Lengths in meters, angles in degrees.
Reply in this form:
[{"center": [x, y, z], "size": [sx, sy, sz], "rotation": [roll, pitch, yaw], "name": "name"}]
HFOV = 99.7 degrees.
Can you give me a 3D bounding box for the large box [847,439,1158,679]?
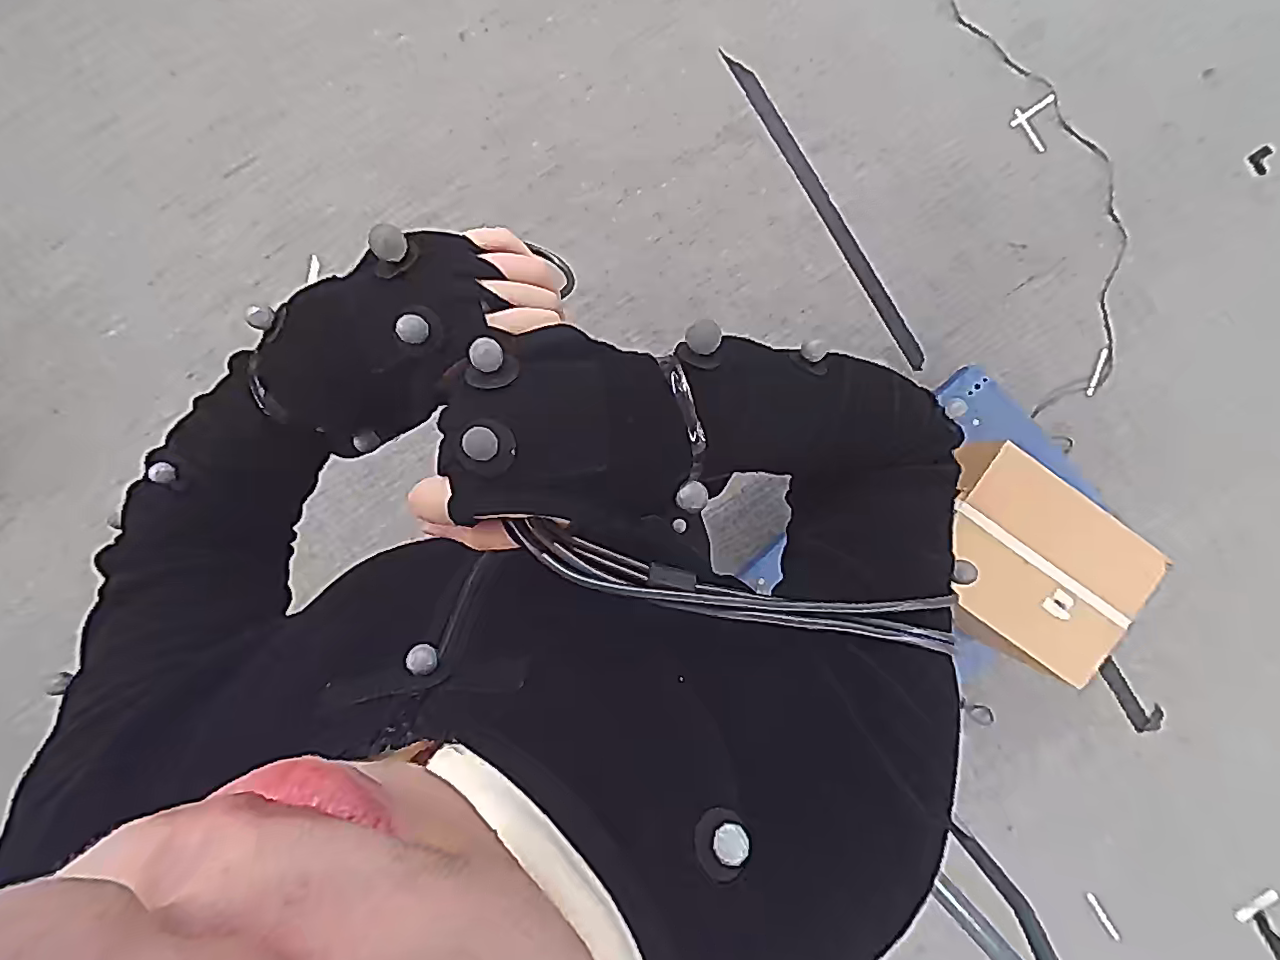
[{"center": [0.755, 0.150, 1.190], "size": [0.408, 0.320, 0.320], "rotation": [36, 91, -2], "name": "large box"}]
